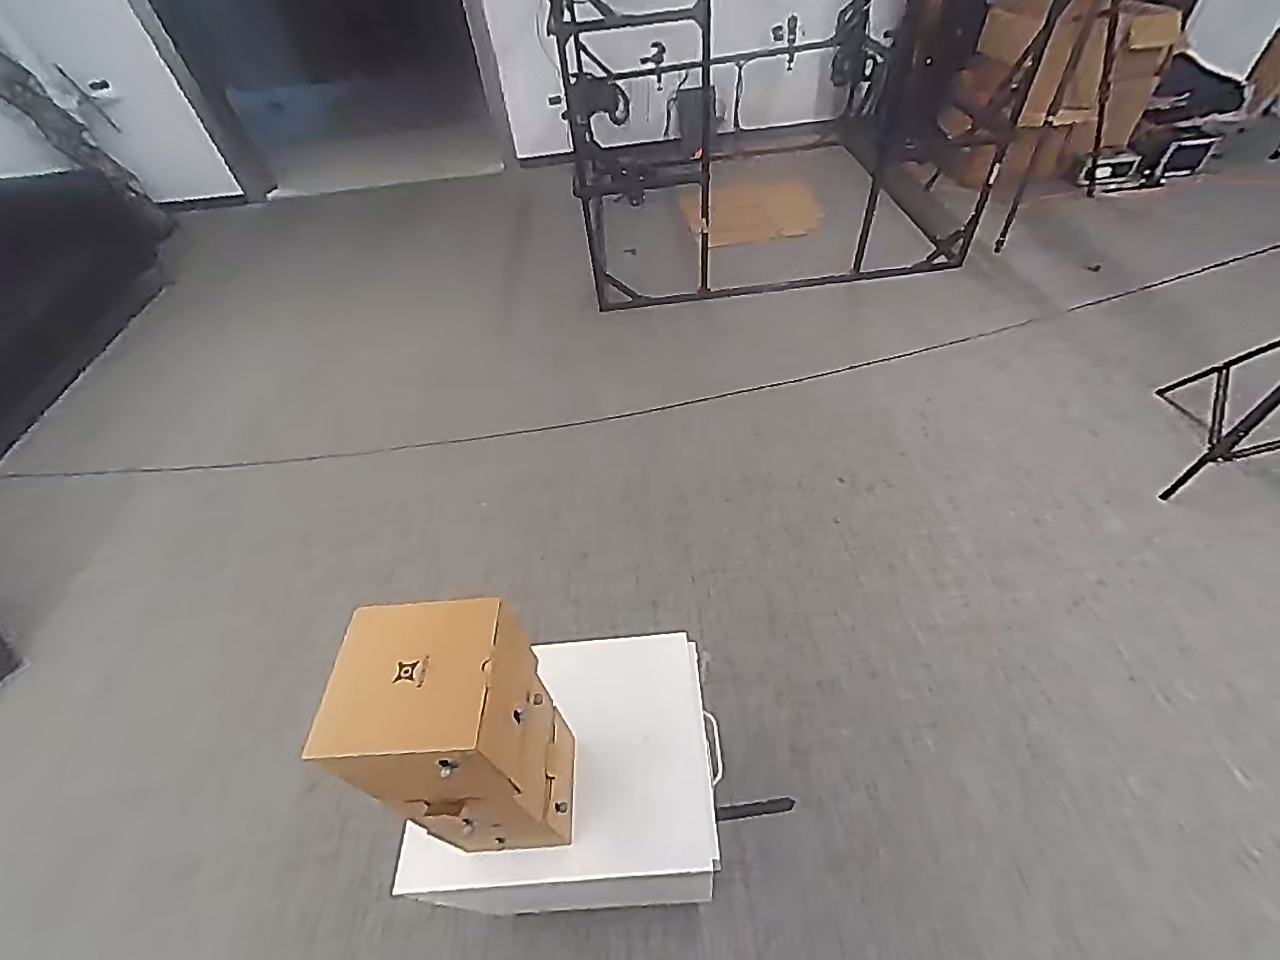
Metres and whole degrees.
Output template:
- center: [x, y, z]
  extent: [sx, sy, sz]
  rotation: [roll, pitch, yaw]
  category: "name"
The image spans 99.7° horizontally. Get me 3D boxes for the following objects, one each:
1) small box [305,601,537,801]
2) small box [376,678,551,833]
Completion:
- center: [-0.230, 0.258, 0.625]
  extent: [0.179, 0.176, 0.168]
  rotation: [-4, 47, 2]
  category: "small box"
- center: [-0.224, 0.367, 0.746]
  extent: [0.168, 0.176, 0.179]
  rotation: [-4, 47, 4]
  category: "small box"
